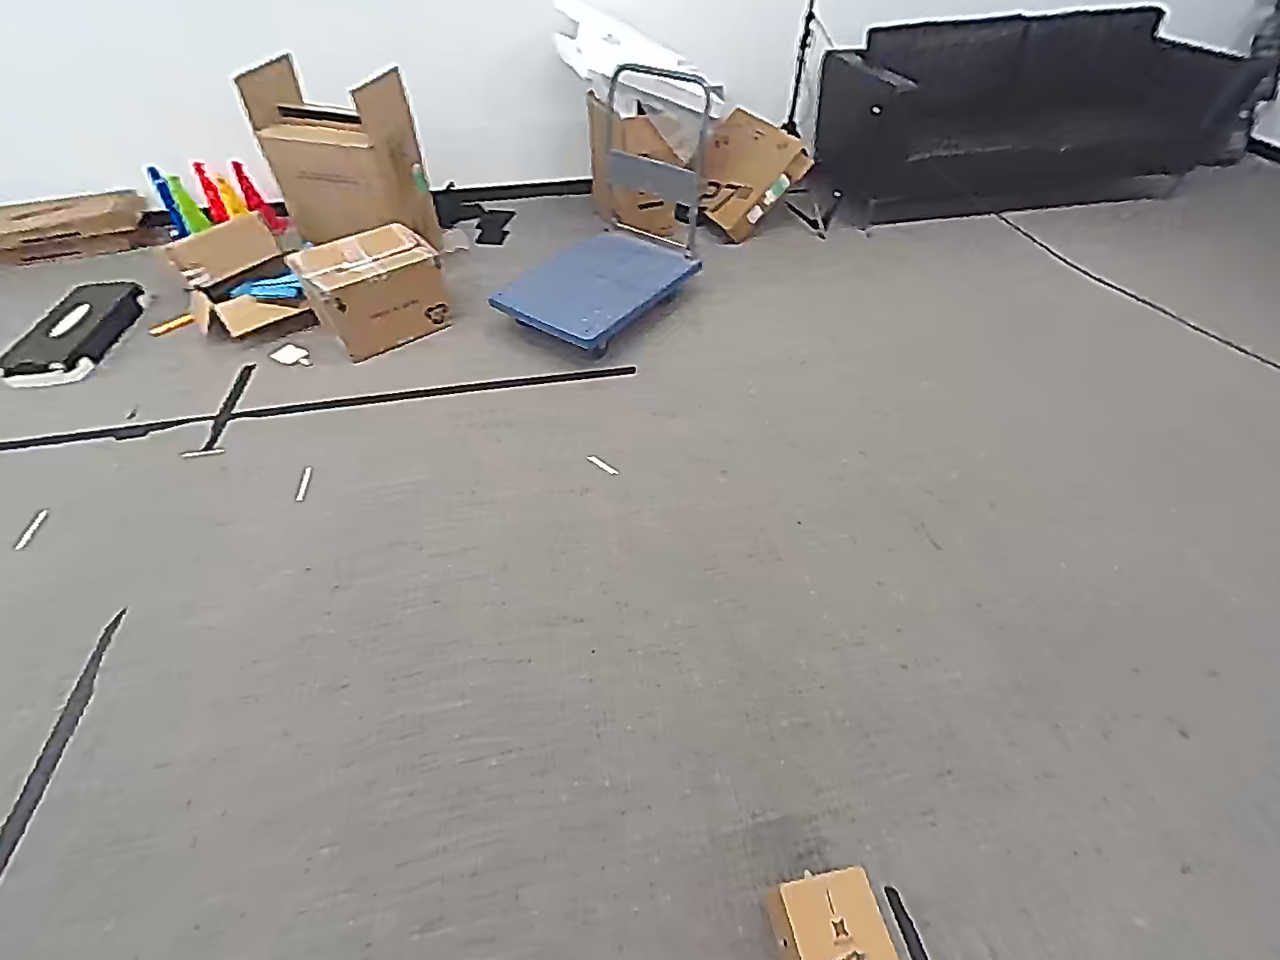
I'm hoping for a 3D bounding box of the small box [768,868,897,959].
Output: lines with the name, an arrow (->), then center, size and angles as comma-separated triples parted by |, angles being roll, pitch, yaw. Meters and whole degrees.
small box -> 0.351, 0.847, 0.997 | 0.168, 0.176, 0.179 | -8, 47, -7
